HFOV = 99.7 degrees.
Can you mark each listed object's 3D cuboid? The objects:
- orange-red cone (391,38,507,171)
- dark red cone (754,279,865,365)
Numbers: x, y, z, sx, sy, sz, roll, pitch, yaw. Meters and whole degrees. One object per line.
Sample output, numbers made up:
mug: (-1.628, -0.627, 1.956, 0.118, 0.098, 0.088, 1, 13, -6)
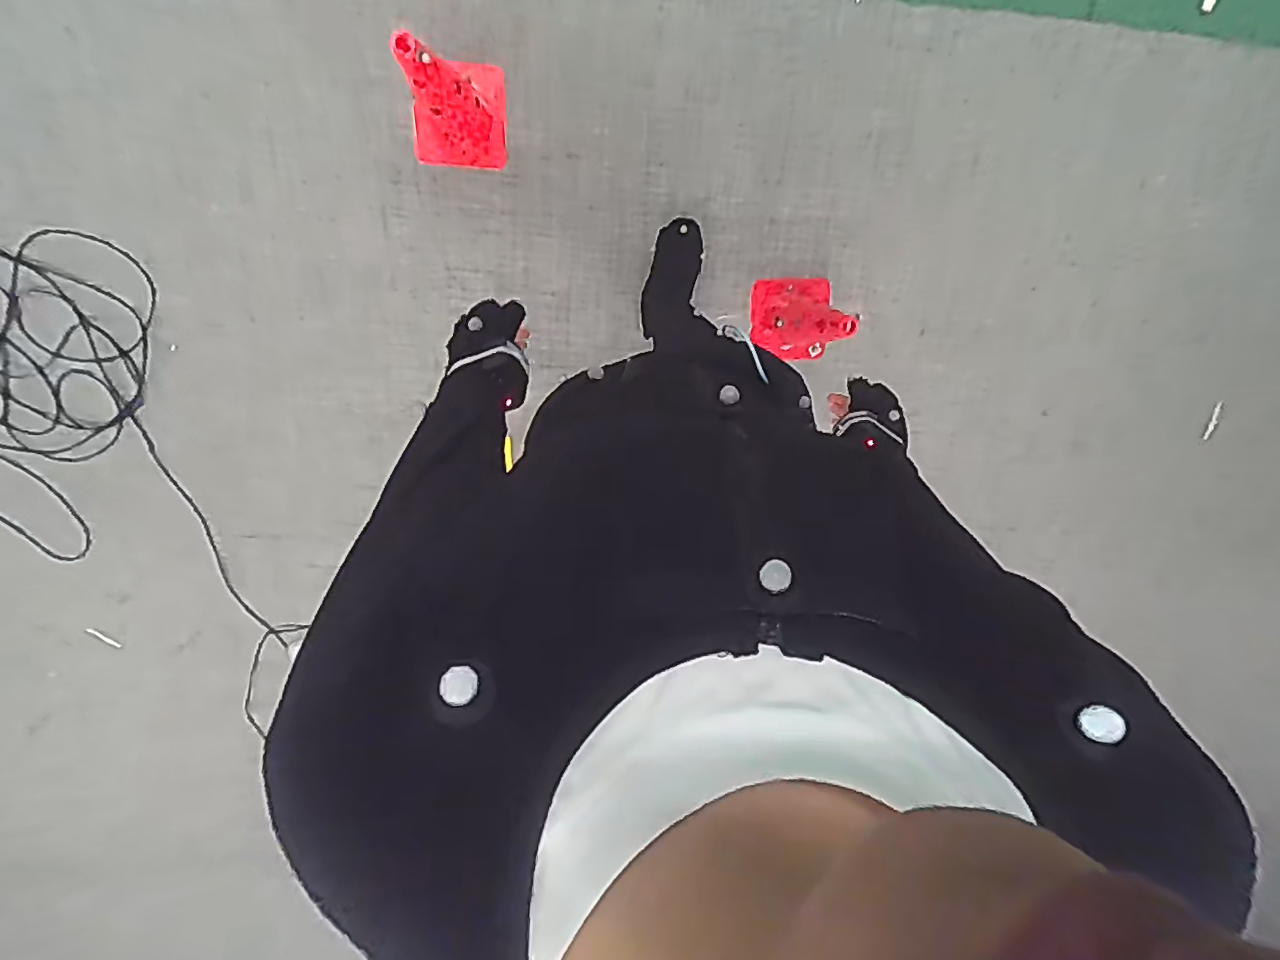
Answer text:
orange-red cone: (-0.388, -0.746, 1.037, 0.198, 0.360, 0.199, 3, 109, -3)
dark red cone: (0.395, -0.344, 1.193, 0.202, 0.394, 0.201, -3, 107, -2)
